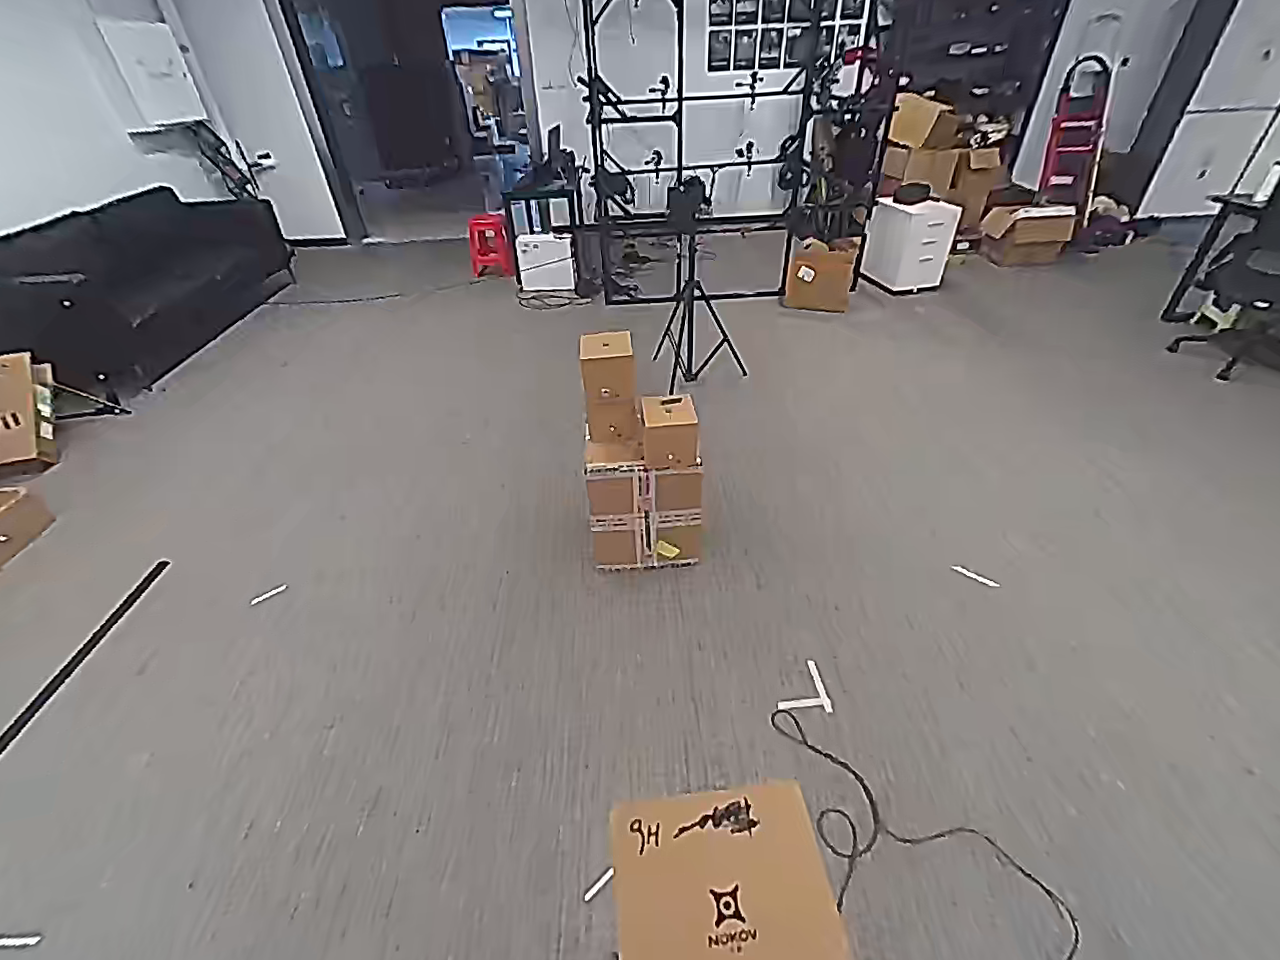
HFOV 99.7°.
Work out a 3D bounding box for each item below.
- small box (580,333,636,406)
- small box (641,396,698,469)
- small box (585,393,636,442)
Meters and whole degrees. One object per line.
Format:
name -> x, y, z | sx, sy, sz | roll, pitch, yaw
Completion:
small box -> -0.103, -0.363, 1.776 | 0.168, 0.176, 0.179 | -6, 41, -1
small box -> 0.092, -0.156, 1.767 | 0.168, 0.176, 0.179 | -5, 41, -3
small box -> -0.101, -0.251, 1.896 | 0.168, 0.176, 0.179 | -5, 40, 0
